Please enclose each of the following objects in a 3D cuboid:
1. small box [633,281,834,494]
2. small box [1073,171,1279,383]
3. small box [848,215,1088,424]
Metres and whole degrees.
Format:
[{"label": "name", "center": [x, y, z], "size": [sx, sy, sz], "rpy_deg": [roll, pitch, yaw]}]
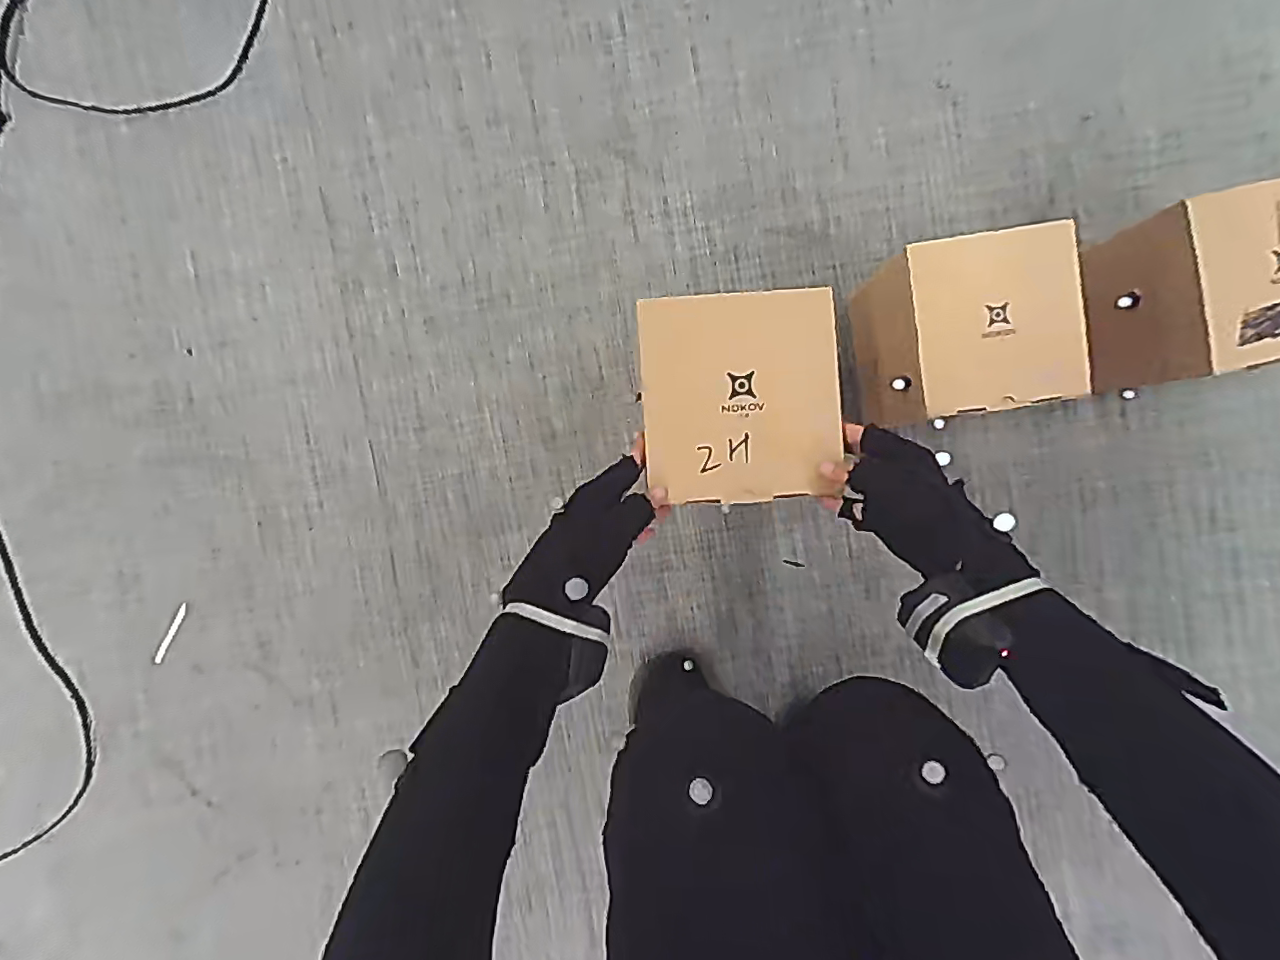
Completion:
[{"label": "small box", "center": [0.078, -0.077, 0.533], "size": [0.168, 0.176, 0.179], "rpy_deg": [-3, 90, 1]}, {"label": "small box", "center": [0.615, -0.210, 0.596], "size": [0.168, 0.176, 0.179], "rpy_deg": [-11, 92, 3]}, {"label": "small box", "center": [0.351, -0.165, 0.612], "size": [0.168, 0.176, 0.179], "rpy_deg": [-8, 92, 3]}]
